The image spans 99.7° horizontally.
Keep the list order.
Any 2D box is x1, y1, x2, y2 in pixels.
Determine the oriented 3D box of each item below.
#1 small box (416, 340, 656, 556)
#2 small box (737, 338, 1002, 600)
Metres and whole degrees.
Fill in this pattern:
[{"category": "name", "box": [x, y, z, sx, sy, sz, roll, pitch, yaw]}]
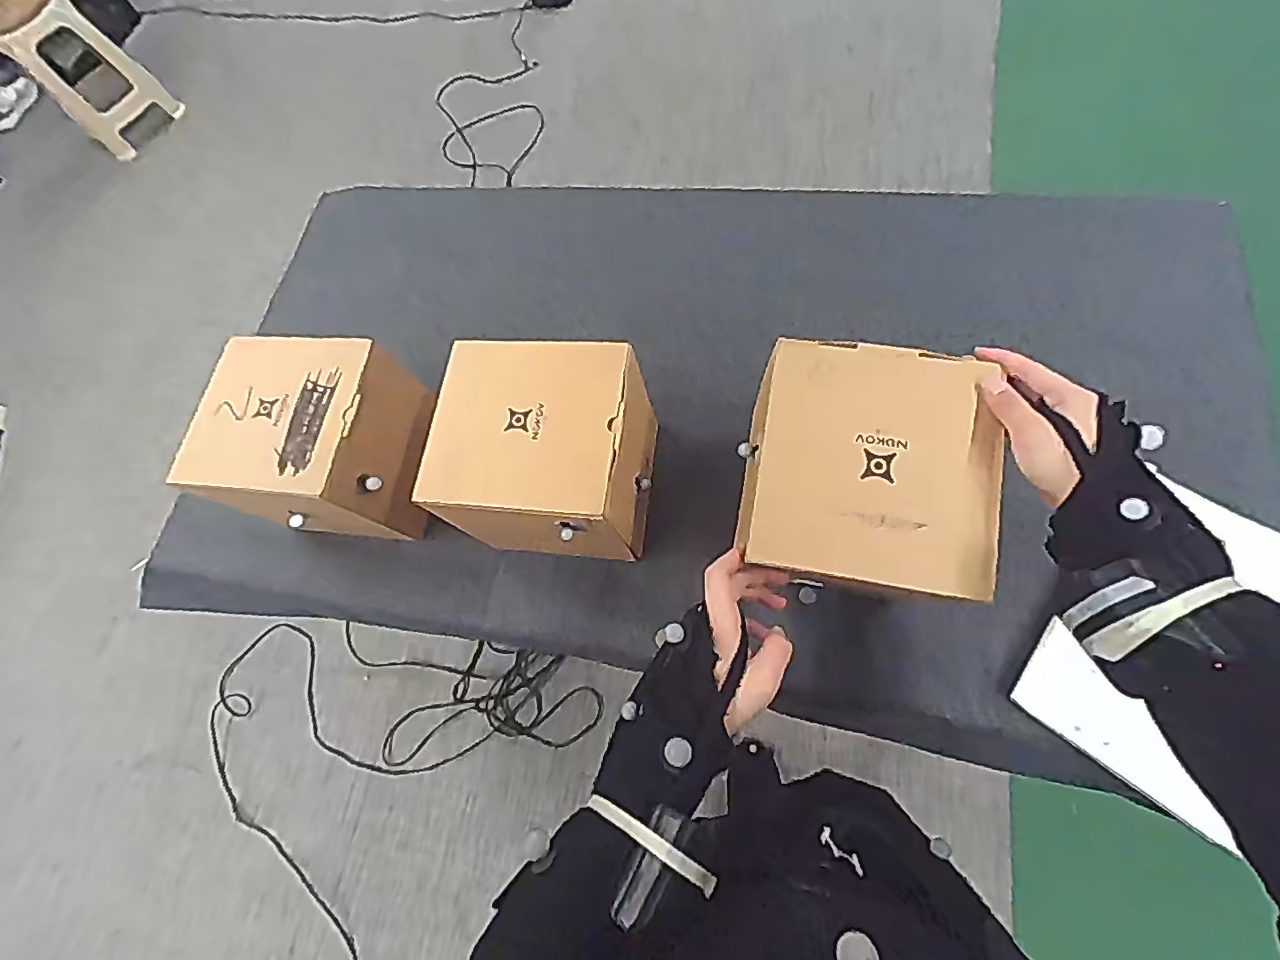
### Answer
[{"category": "small box", "box": [-0.088, -0.024, 0.552, 0.179, 0.176, 0.168, 4, 70, 10]}, {"category": "small box", "box": [0.179, 0.002, 0.468, 0.168, 0.176, 0.179, 8, 79, 9]}]
